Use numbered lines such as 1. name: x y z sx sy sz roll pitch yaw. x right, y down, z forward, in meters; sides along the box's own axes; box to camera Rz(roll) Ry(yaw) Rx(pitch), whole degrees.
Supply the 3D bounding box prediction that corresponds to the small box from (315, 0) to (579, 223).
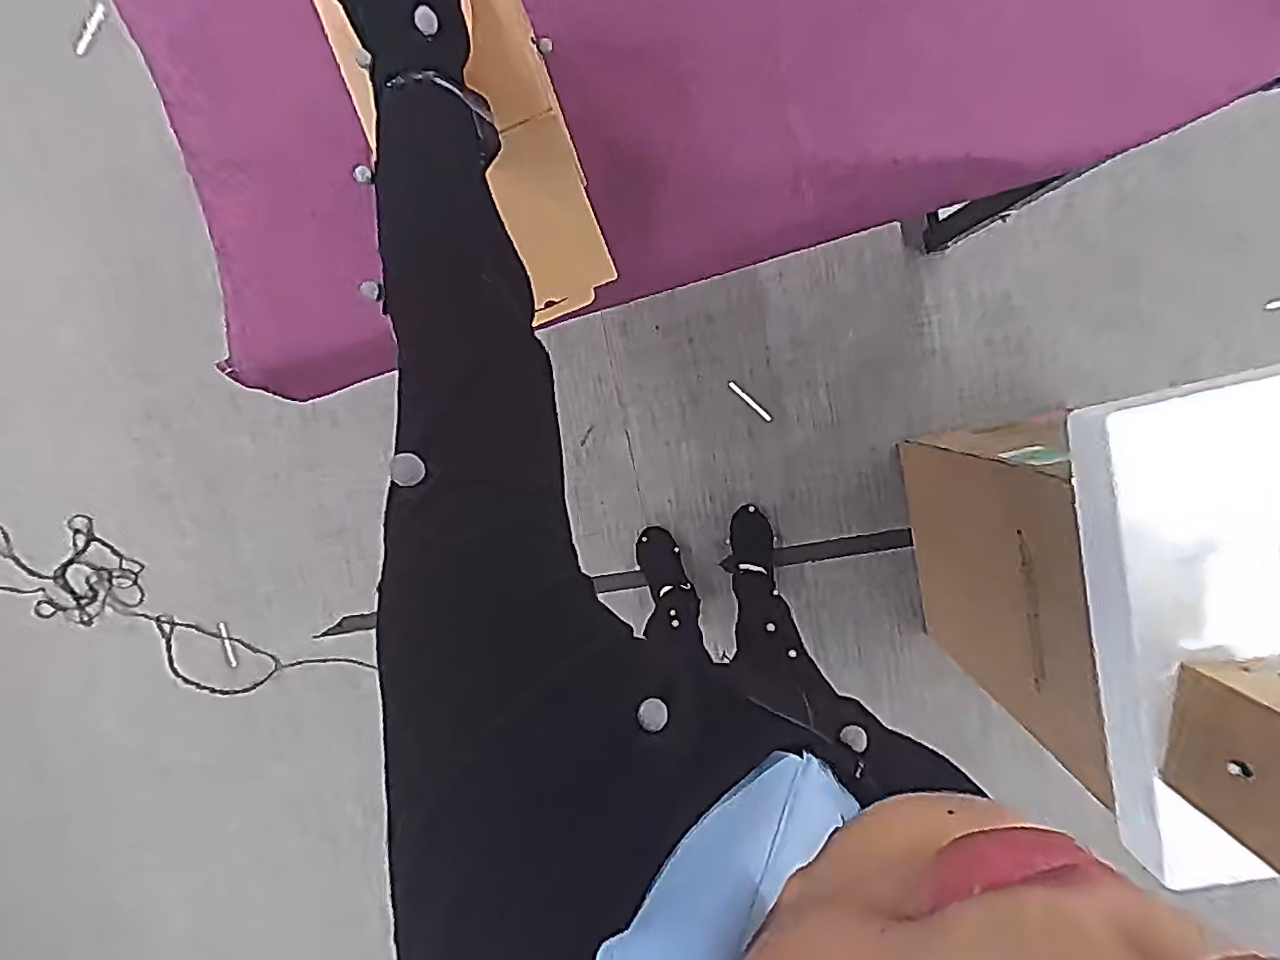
1. small box: -0.173 -0.383 0.542 0.168 0.176 0.179 -19 96 6
